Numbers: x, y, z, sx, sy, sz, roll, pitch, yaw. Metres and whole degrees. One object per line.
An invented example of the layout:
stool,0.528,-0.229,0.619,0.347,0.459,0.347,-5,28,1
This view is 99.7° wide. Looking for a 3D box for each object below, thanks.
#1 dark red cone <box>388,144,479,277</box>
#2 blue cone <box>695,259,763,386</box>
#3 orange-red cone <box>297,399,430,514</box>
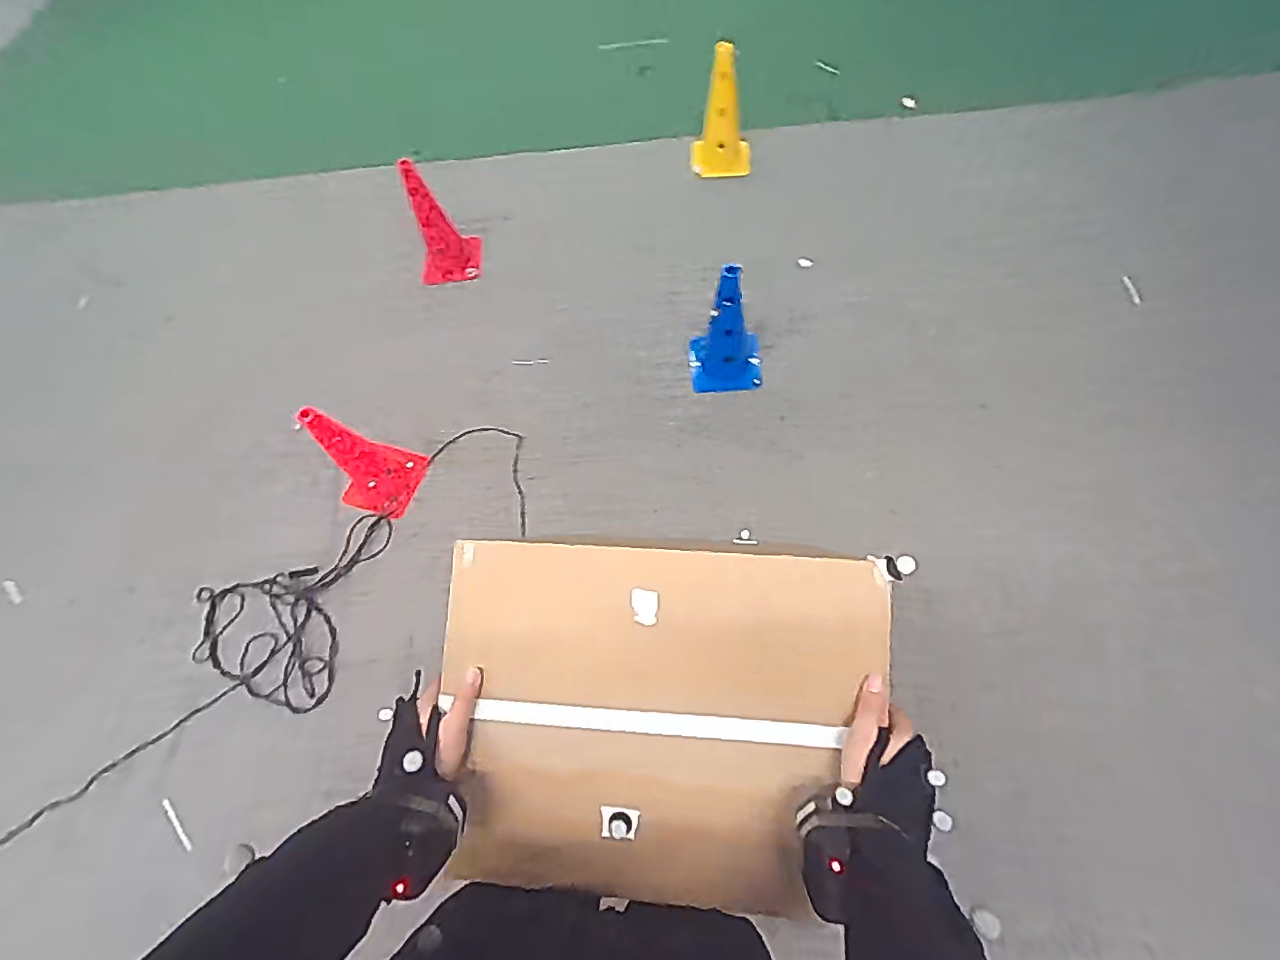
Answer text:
dark red cone,-0.668,-0.850,1.700,0.202,0.394,0.201,-9,61,3
blue cone,0.239,-0.423,1.426,0.192,0.380,0.193,-2,65,6
orange-red cone,-0.731,-0.086,1.366,0.199,0.360,0.198,16,66,15
